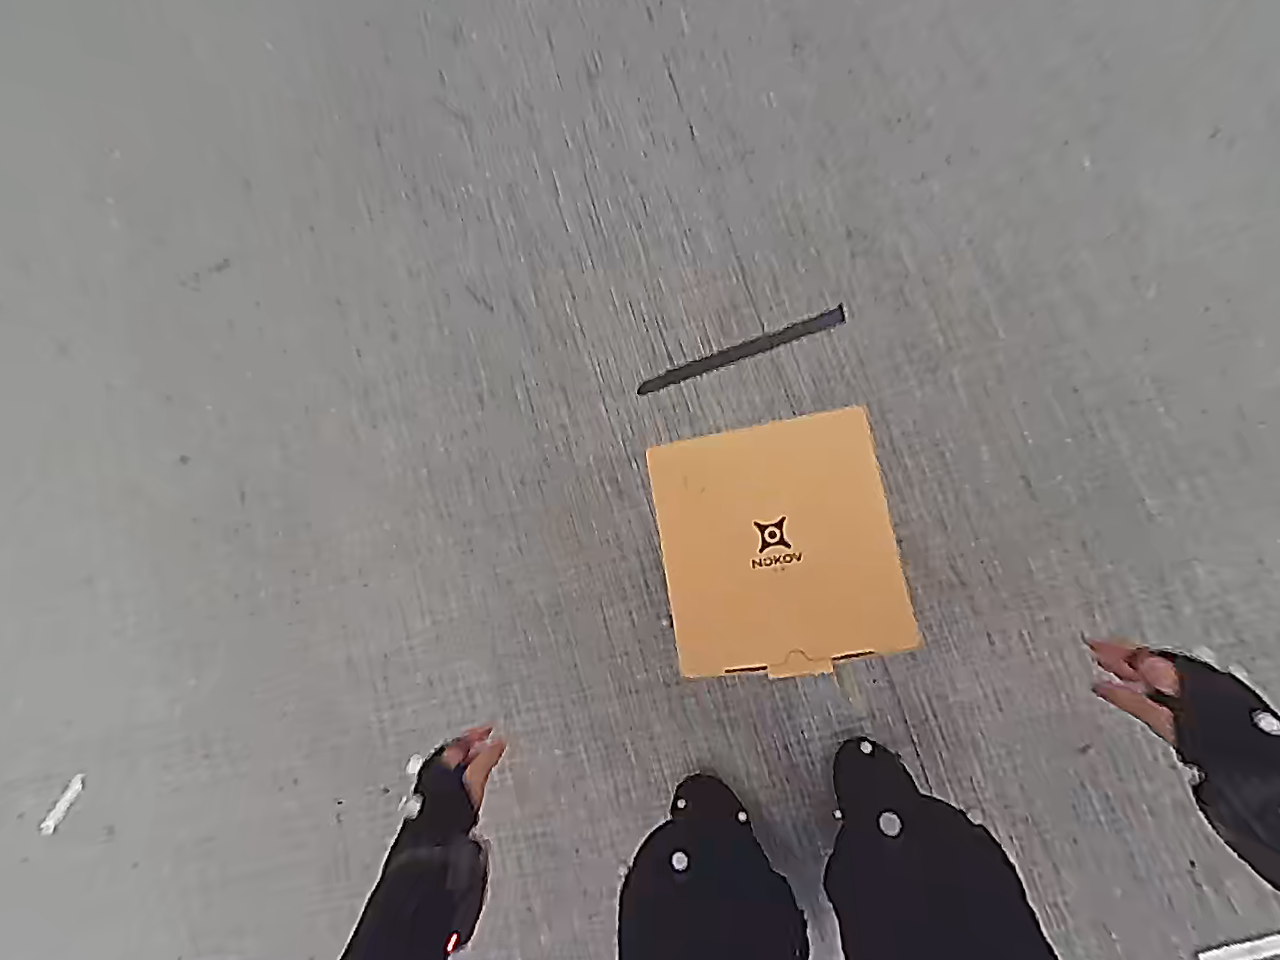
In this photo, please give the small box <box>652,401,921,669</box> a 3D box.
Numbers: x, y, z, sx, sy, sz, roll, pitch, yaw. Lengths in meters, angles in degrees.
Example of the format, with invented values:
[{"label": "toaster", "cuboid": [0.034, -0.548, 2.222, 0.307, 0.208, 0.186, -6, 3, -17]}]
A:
[{"label": "small box", "cuboid": [0.114, 0.052, 0.471, 0.168, 0.176, 0.179, -11, 80, 9]}]
